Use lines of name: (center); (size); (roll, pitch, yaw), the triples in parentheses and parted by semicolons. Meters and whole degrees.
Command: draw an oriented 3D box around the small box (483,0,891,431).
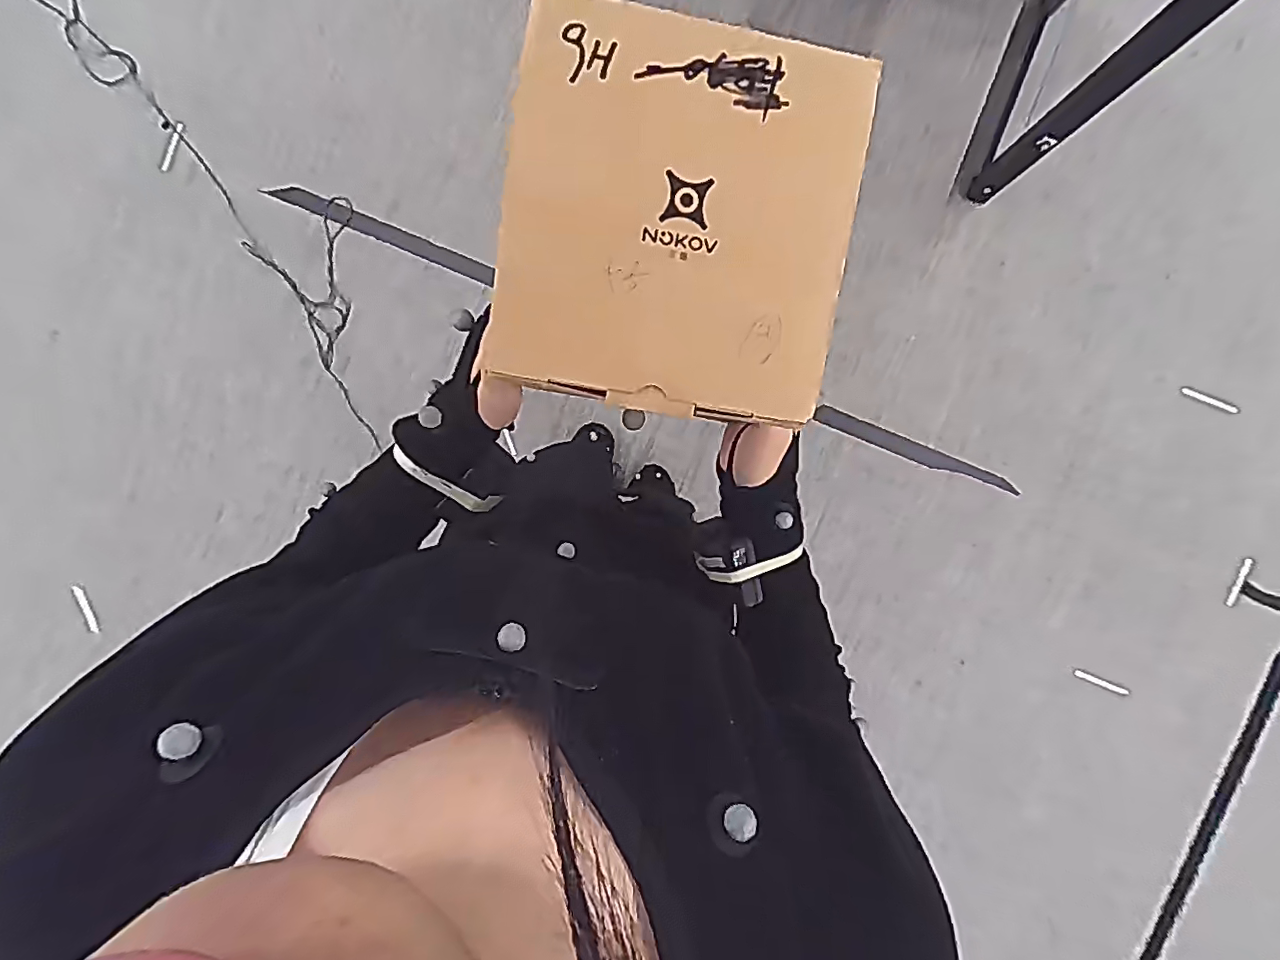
small box: (0.015, -0.133, 0.329); (0.168, 0.176, 0.179); (9, 97, -6)

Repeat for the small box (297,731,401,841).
small box: (-0.762, 0.802, 1.437); (0.168, 0.176, 0.179); (16, 93, 1)
